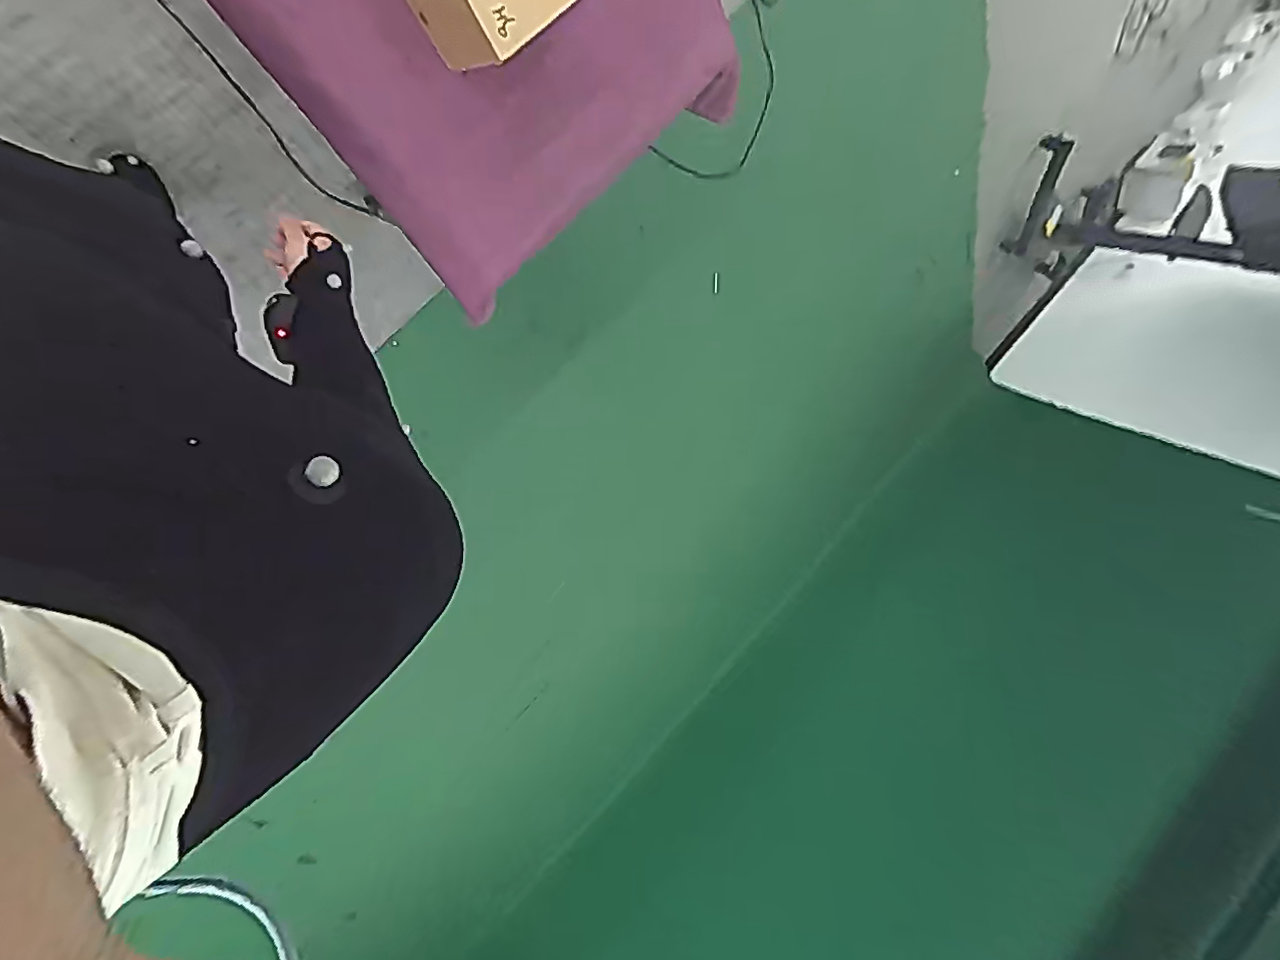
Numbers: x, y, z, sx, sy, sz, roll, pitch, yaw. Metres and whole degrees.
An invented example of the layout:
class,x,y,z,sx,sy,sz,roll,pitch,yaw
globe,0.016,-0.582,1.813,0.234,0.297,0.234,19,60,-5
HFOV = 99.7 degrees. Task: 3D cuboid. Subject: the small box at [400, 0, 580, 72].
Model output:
class,x,y,z,sx,sy,sz,roll,pitch,yaw
small box,-0.183,-0.608,0.618,0.179,0.176,0.168,-46,137,-8
